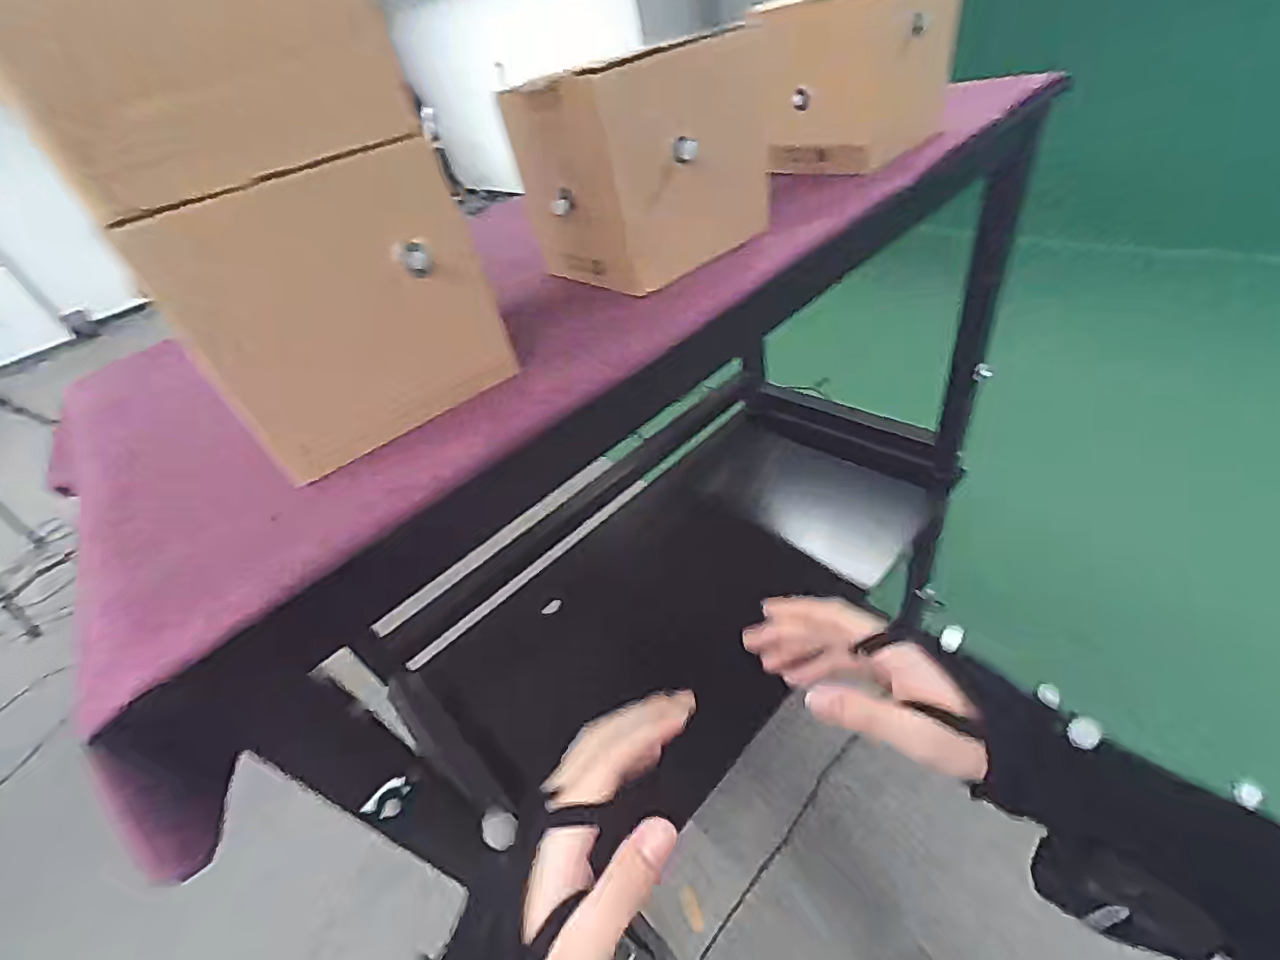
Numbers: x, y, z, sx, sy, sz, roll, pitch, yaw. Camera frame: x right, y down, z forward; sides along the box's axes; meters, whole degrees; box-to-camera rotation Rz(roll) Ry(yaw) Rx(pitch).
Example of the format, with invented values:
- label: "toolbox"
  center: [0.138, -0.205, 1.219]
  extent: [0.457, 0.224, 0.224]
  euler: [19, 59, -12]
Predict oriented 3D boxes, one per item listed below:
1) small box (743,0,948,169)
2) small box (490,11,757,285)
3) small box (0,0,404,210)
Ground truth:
- label: "small box"
  center: [0.245, -0.488, 0.644]
  extent: [0.179, 0.176, 0.168]
  euler: [-39, 46, -24]
- label: "small box"
  center: [-0.004, -0.304, 0.513]
  extent: [0.179, 0.176, 0.168]
  euler: [-36, 43, -22]
- label: "small box"
  center: [-0.267, -0.262, 0.294]
  extent: [0.179, 0.176, 0.168]
  euler: [-34, 42, -23]
